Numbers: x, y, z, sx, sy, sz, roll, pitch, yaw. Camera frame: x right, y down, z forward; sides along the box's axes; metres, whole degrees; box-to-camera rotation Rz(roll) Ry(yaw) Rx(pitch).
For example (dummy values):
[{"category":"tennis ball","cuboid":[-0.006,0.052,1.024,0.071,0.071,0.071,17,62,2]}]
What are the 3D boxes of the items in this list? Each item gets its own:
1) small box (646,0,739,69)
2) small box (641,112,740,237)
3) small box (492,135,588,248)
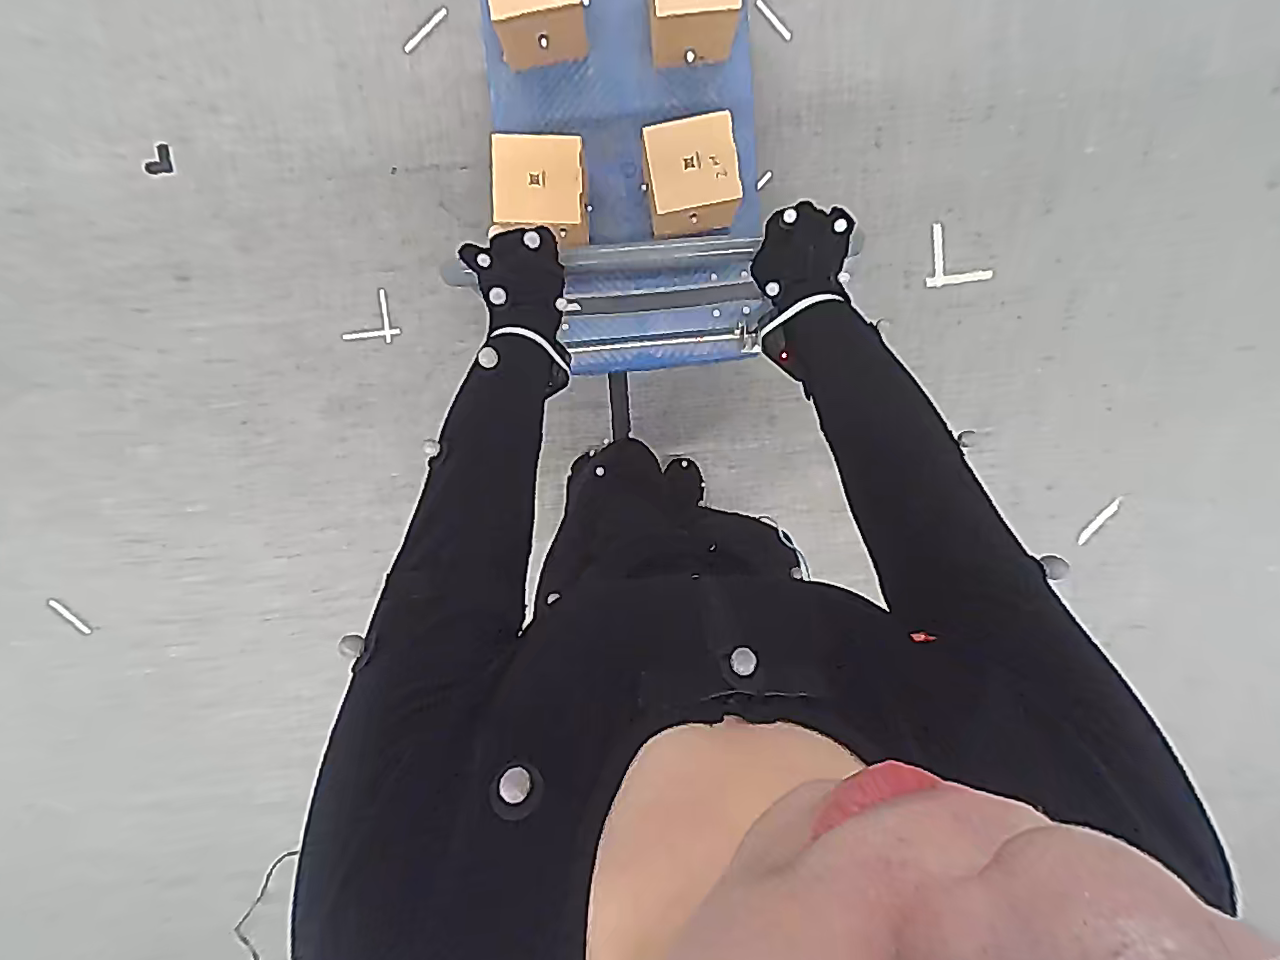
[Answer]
[{"category":"small box","cuboid":[0.099,-0.982,1.096,0.168,0.176,0.179,-5,99,0]},{"category":"small box","cuboid":[0.101,-0.632,1.142,0.179,0.176,0.168,-11,97,1]},{"category":"small box","cuboid":[-0.205,-0.601,1.145,0.179,0.176,0.168,0,97,-2]}]
